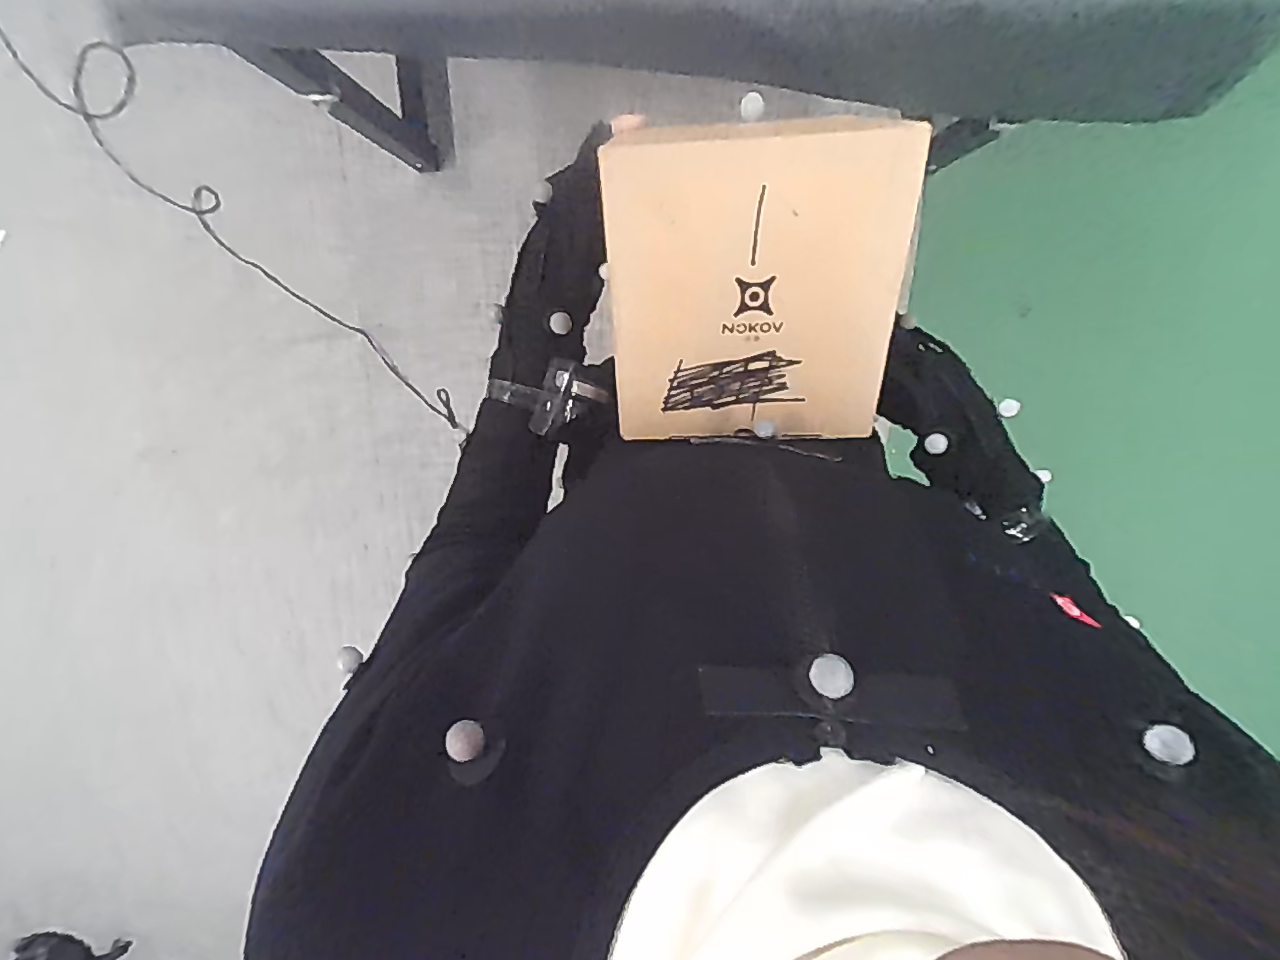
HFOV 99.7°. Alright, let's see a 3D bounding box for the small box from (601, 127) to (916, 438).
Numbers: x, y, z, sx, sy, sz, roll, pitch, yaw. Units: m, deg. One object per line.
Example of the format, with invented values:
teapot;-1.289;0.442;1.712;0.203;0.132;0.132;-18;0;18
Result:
small box;0.068;-0.147;0.392;0.168;0.176;0.179;0;124;4
